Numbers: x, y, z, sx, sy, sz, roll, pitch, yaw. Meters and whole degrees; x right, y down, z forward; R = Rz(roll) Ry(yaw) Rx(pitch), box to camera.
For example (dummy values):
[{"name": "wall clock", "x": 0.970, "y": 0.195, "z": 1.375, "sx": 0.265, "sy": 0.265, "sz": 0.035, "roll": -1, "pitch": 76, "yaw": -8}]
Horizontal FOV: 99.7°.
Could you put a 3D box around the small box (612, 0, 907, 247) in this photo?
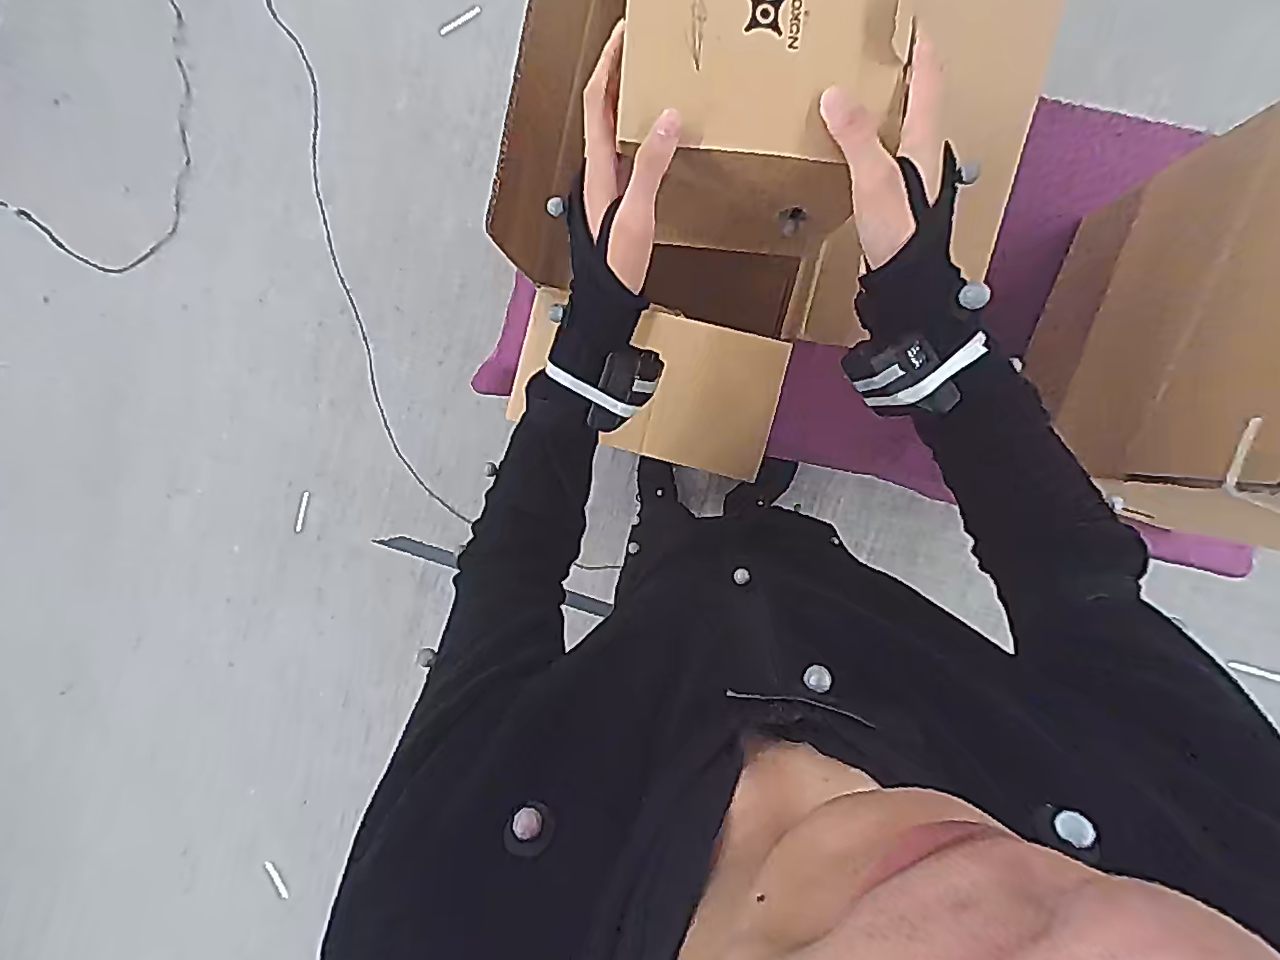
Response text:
[{"name": "small box", "x": 0.074, "y": -0.292, "z": 0.408, "sx": 0.179, "sy": 0.176, "sz": 0.168, "roll": 5, "pitch": 93, "yaw": -1}]
